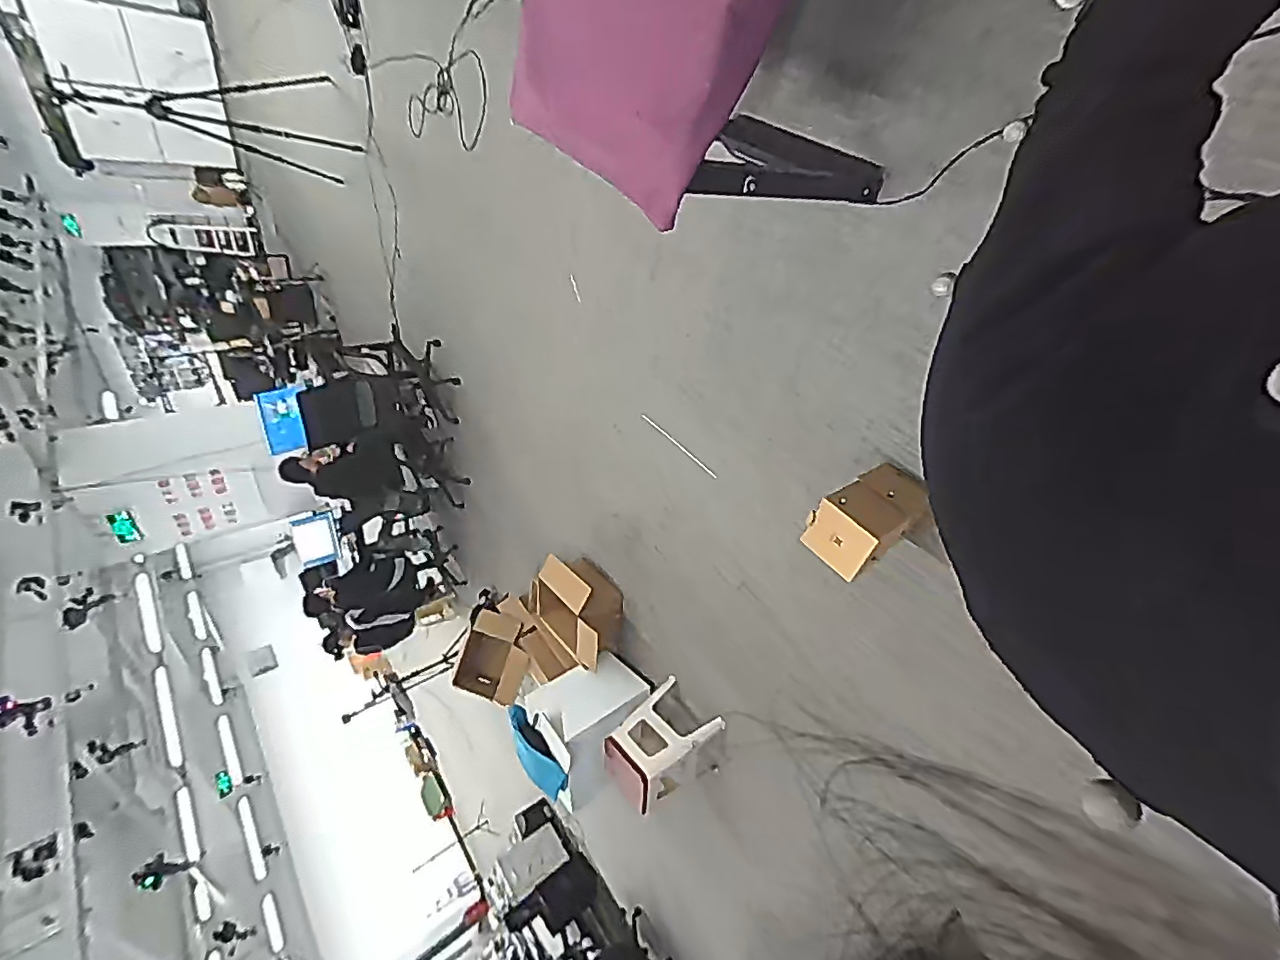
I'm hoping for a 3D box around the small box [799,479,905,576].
[{"bbox_3d":[0.574,0.121,1.458,0.179,0.176,0.168,45,137,32],"label":"small box"}]

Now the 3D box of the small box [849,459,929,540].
[{"bbox_3d":[0.692,0.068,1.558,0.168,0.176,0.179,44,137,32],"label":"small box"}]
